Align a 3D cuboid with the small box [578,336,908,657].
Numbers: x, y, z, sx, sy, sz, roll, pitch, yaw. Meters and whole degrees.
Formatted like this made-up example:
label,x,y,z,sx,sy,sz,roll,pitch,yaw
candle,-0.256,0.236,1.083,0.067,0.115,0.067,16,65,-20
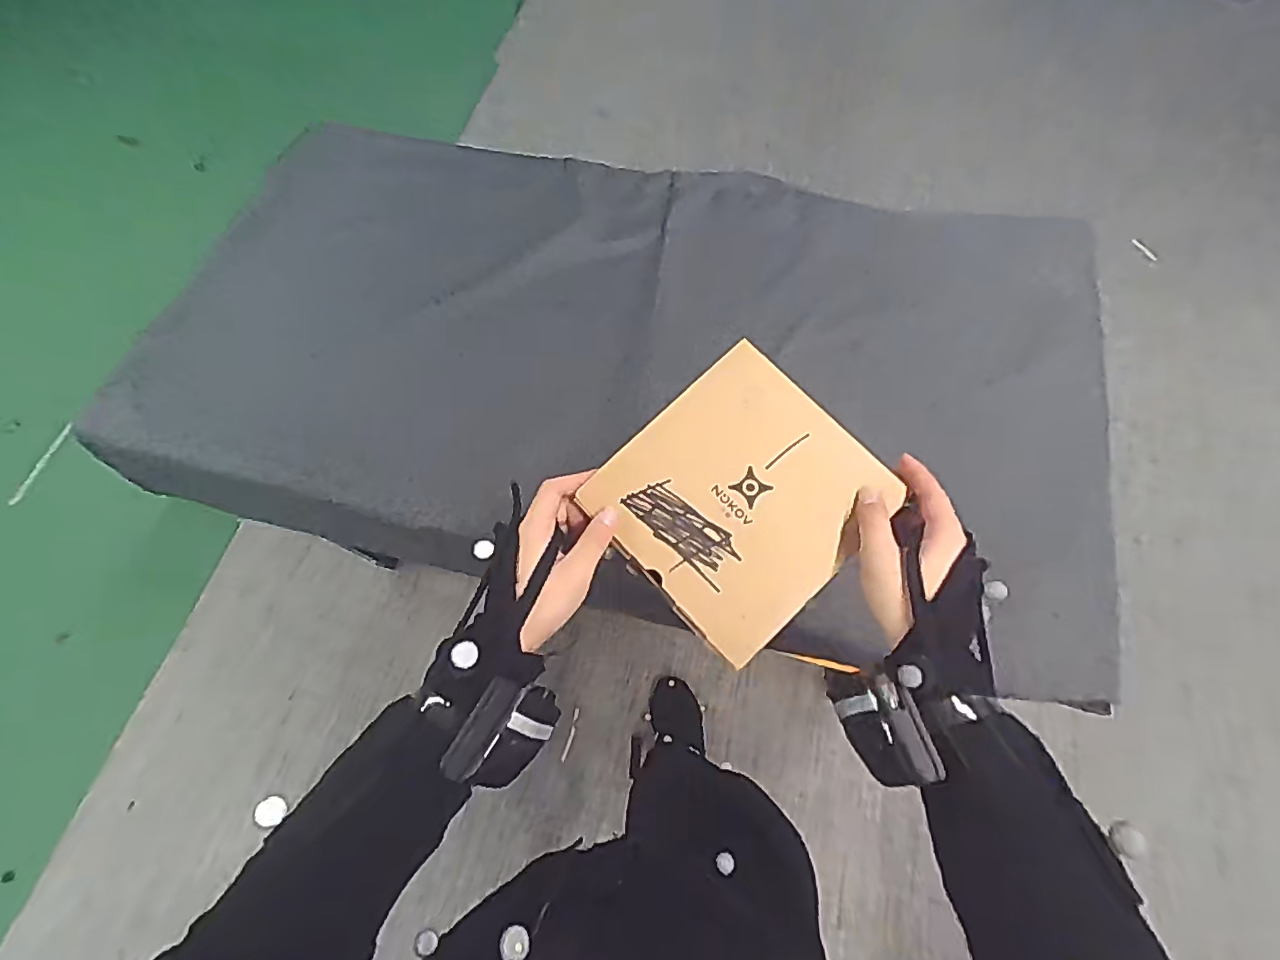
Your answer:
label,x,y,z,sx,sy,sz,roll,pitch,yaw
small box,0.075,0.022,0.459,0.179,0.176,0.168,-43,80,-7
